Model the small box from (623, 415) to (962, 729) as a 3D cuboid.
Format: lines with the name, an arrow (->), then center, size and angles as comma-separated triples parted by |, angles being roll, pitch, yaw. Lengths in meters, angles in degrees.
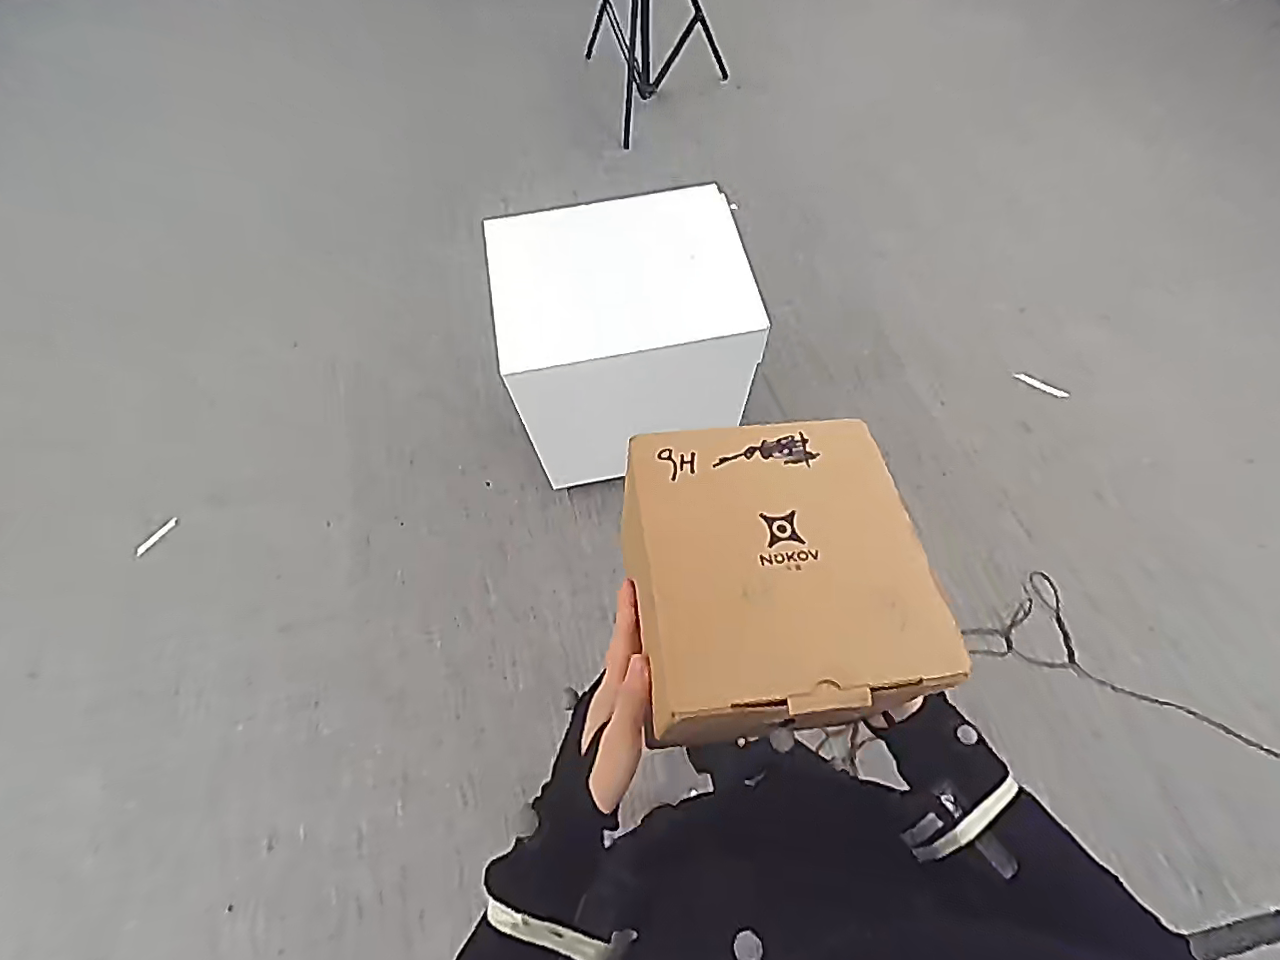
small box -> 0.079, 0.075, 0.392 | 0.168, 0.176, 0.179 | -4, 60, -8
